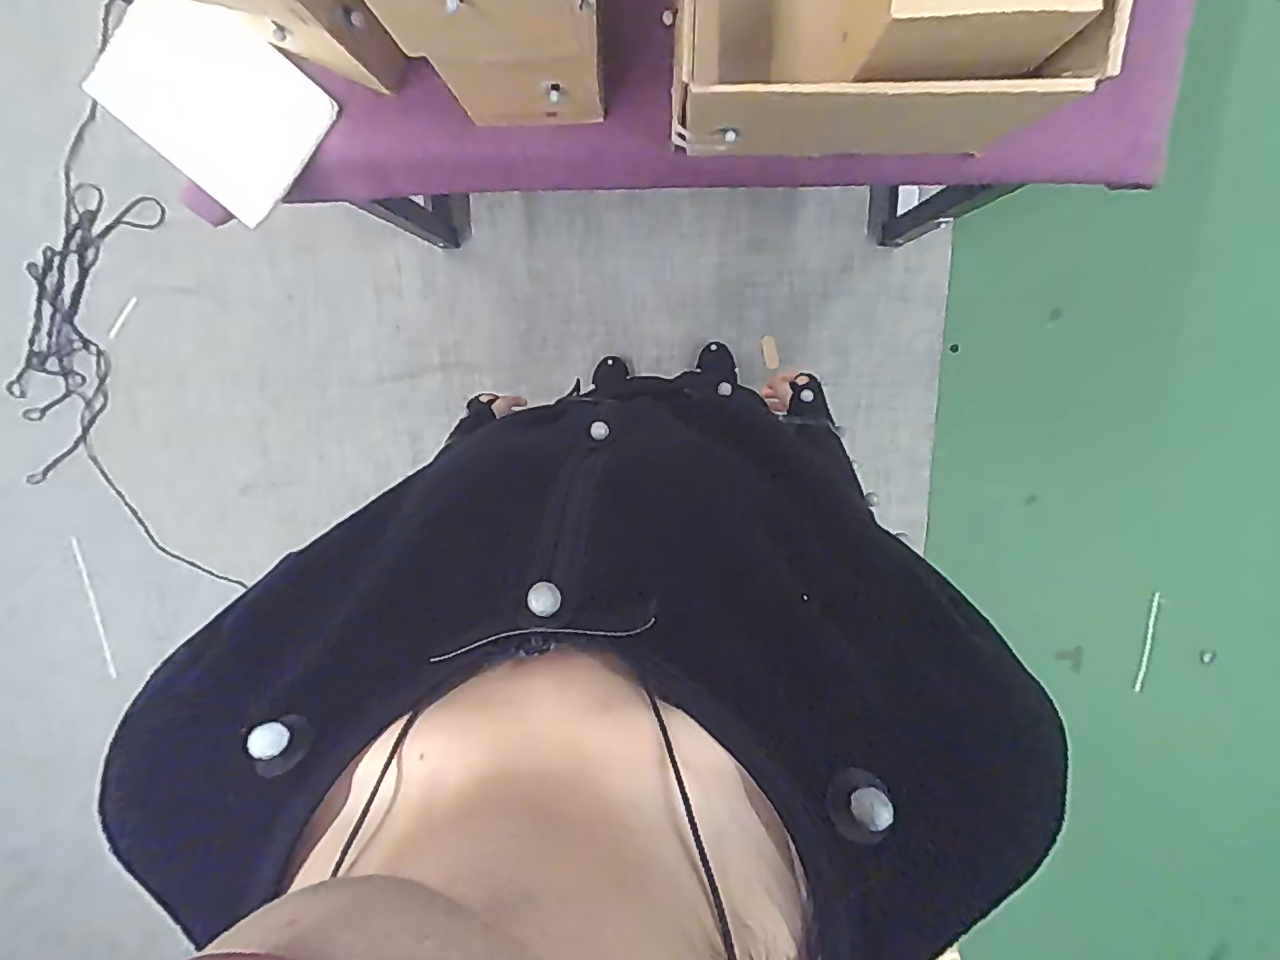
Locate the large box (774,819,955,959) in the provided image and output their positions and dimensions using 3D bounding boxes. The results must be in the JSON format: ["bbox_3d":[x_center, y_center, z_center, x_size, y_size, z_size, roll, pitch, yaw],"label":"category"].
[{"bbox_3d":[0.657,1.296,1.615,0.408,0.320,0.320,-15,102,4],"label":"large box"}]

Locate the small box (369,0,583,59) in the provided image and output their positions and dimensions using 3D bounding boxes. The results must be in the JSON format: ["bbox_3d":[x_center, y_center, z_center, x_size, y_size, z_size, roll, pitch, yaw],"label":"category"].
[{"bbox_3d":[-0.138,-0.472,0.429,0.179,0.176,0.168,1,101,2],"label":"small box"}]
